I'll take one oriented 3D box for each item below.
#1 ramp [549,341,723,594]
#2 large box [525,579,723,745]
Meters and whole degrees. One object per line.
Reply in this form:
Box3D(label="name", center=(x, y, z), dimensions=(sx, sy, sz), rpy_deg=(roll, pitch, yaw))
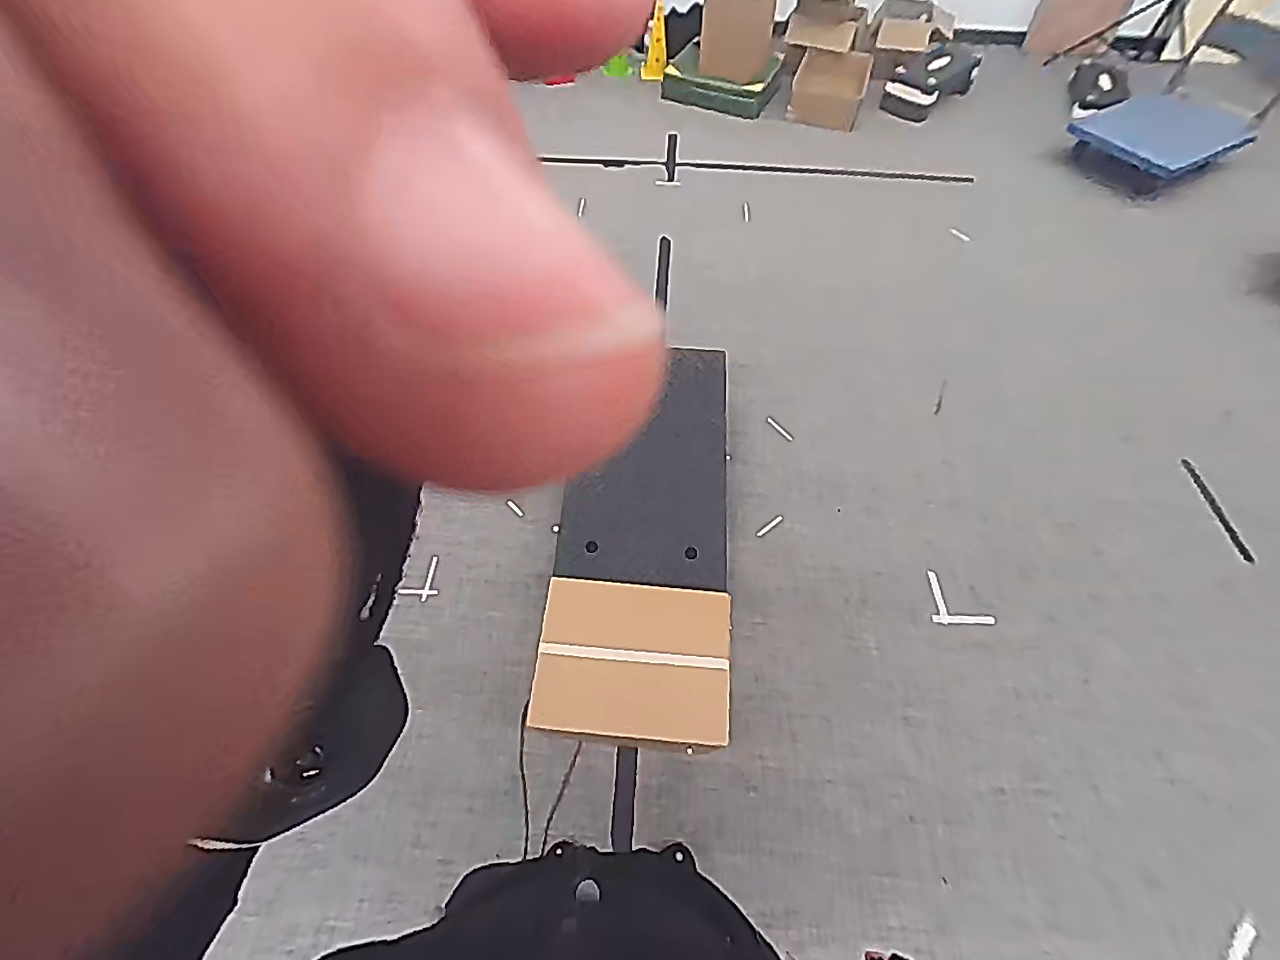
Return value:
Box3D(label="ramp", center=(0.009, 0.003, 1.647), dimensions=(0.509, 0.206, 0.991), rpy_deg=(3, 57, -2))
Box3D(label="large box", center=(-0.025, 0.441, 1.277), dimensions=(0.408, 0.320, 0.320), rpy_deg=(5, 61, 1))
